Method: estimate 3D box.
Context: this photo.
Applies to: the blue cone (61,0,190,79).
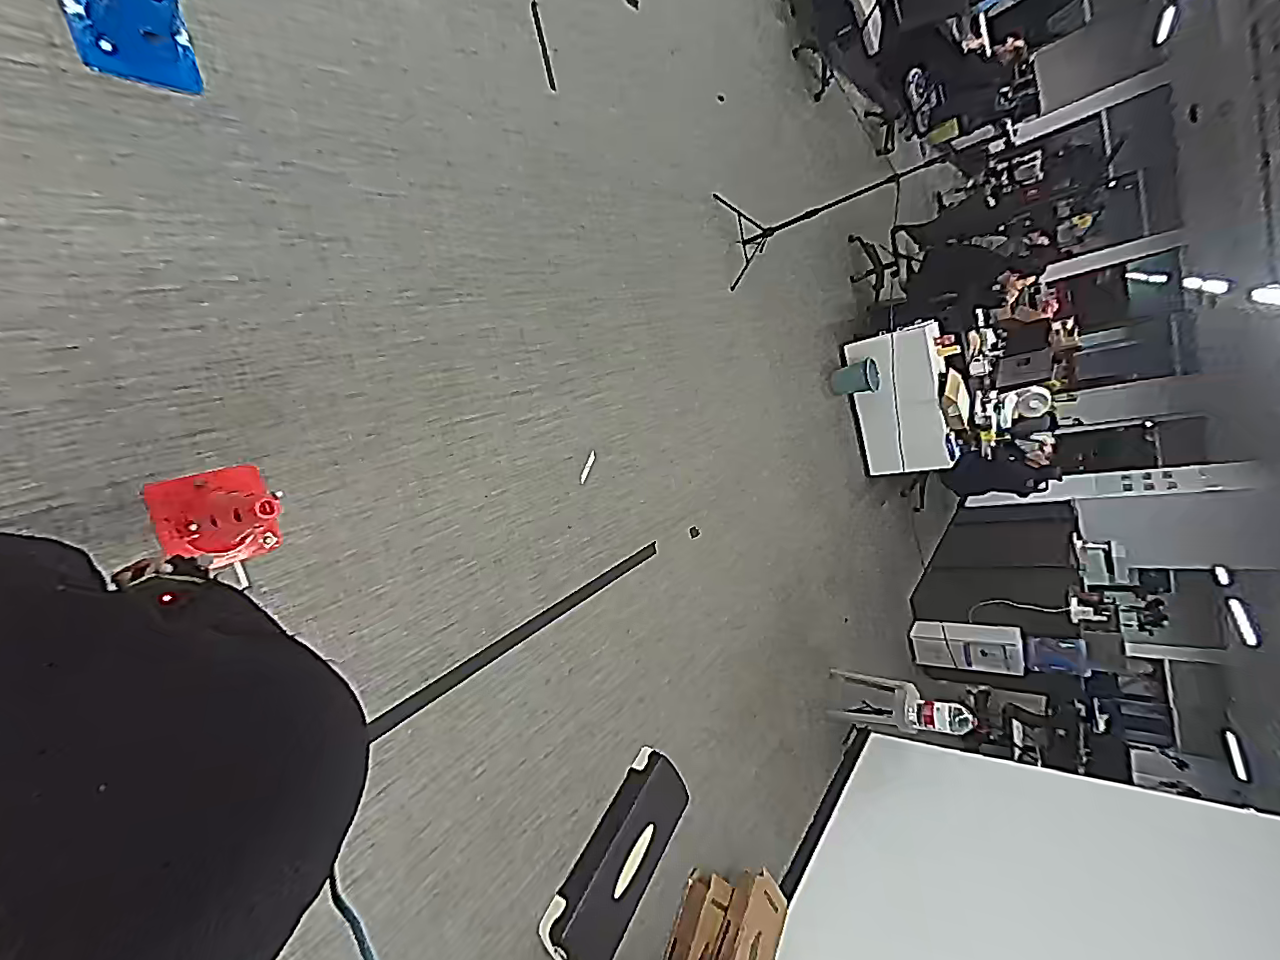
[{"bbox_3d":[-0.937,-0.958,1.004,0.193,0.380,0.192,-20,99,-49],"label":"blue cone"}]
